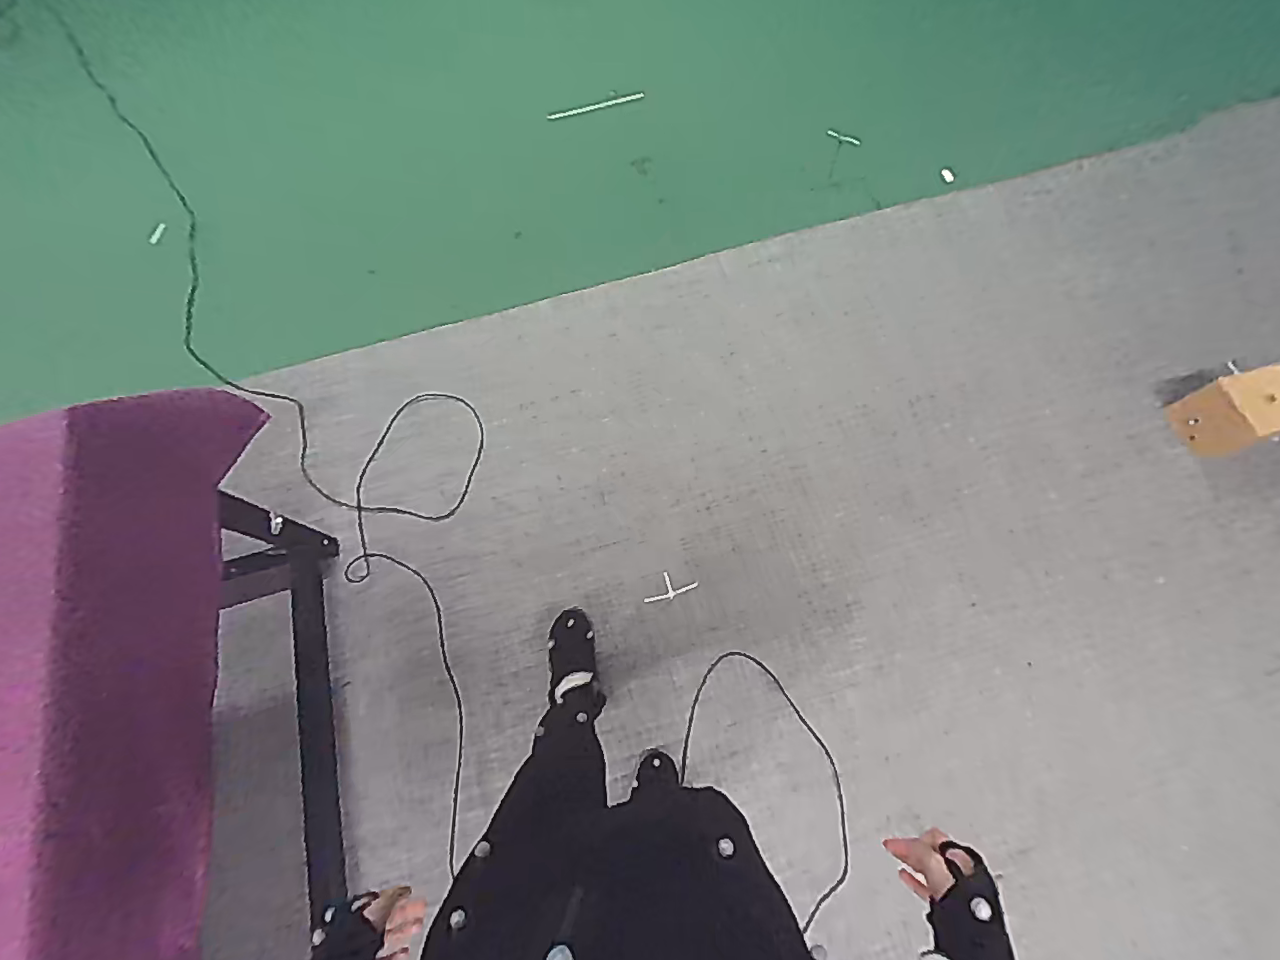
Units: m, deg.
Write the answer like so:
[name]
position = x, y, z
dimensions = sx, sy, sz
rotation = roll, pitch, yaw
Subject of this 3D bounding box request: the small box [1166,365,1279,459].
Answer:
[small box]
position = 1.565, -0.173, 1.418
dimensions = 0.179, 0.176, 0.168
rotation = -15, 70, -2
